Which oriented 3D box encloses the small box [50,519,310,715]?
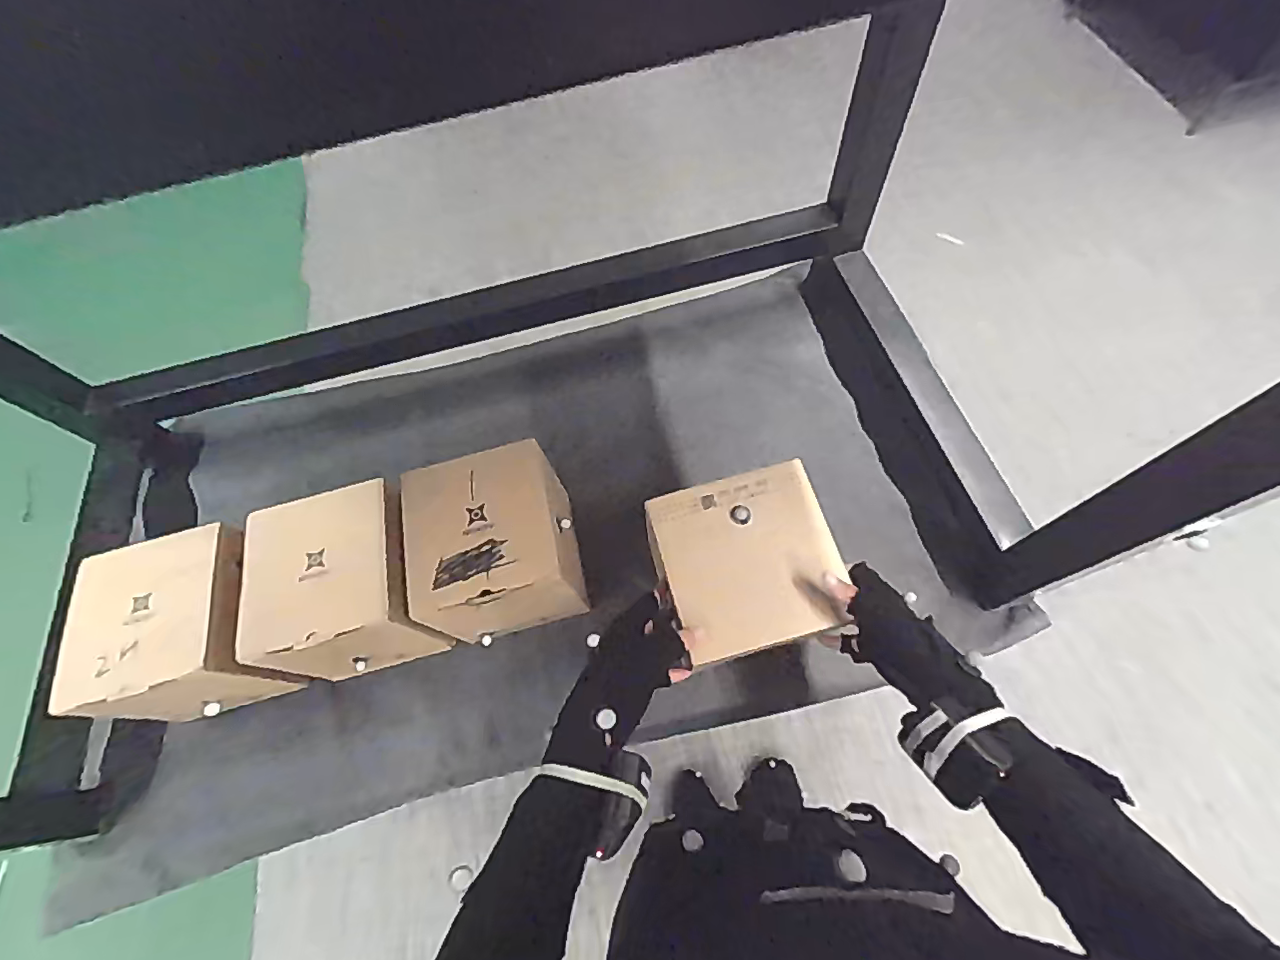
[{"bbox_3d":[-0.536,0.174,0.662,0.168,0.176,0.179,-16,64,-1],"label":"small box"}]
